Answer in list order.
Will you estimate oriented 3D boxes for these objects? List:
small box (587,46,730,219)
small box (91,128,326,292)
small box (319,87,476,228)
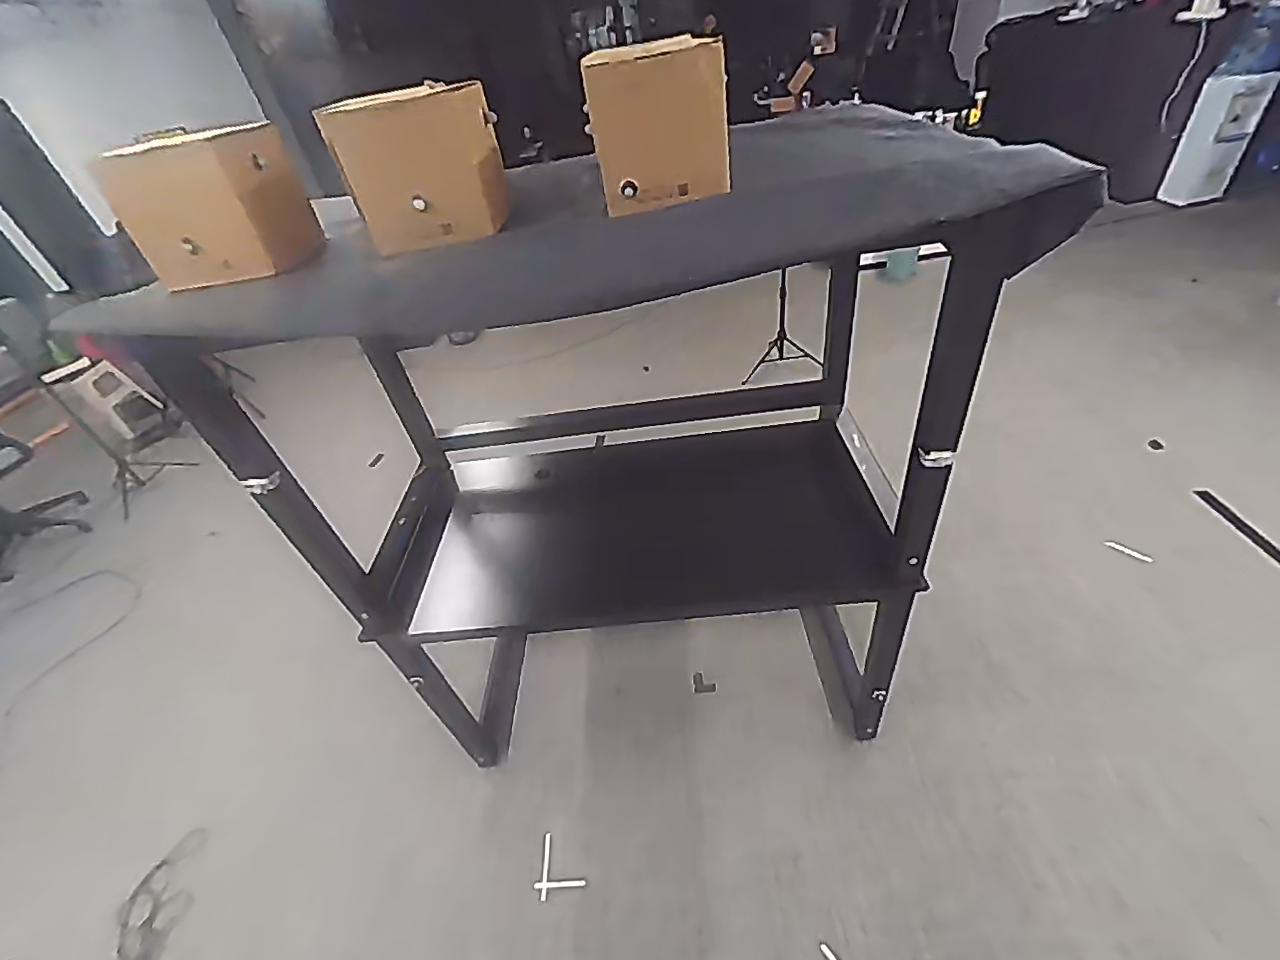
[{"bbox_3d":[0.028,-0.470,0.740,0.168,0.176,0.179,-8,39,3],"label":"small box"},{"bbox_3d":[-0.589,-0.386,0.774,0.168,0.176,0.179,-8,39,2],"label":"small box"},{"bbox_3d":[-0.401,-0.556,0.935,0.179,0.176,0.168,-8,40,2],"label":"small box"}]
